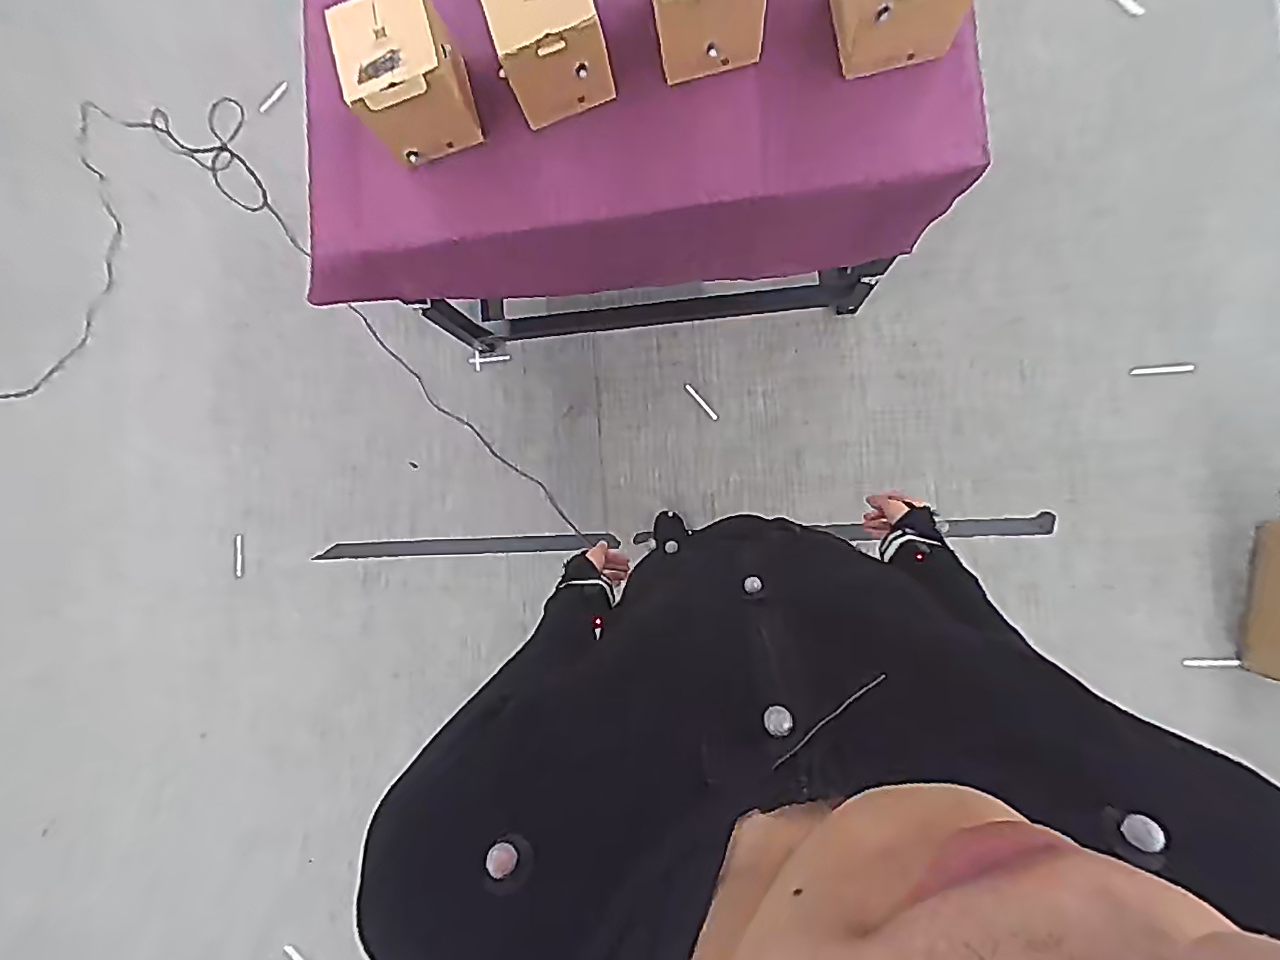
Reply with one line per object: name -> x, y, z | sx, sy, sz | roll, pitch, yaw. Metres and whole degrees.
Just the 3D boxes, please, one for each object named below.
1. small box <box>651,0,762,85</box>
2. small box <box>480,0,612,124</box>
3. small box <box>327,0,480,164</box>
small box -> 0.101, -0.804, 0.884 | 0.168, 0.176, 0.179 | -9, 86, 7
small box -> -0.157, -0.748, 0.916 | 0.168, 0.176, 0.179 | -18, 84, 5
small box -> -0.400, -0.690, 0.942 | 0.168, 0.176, 0.179 | -16, 84, 6
